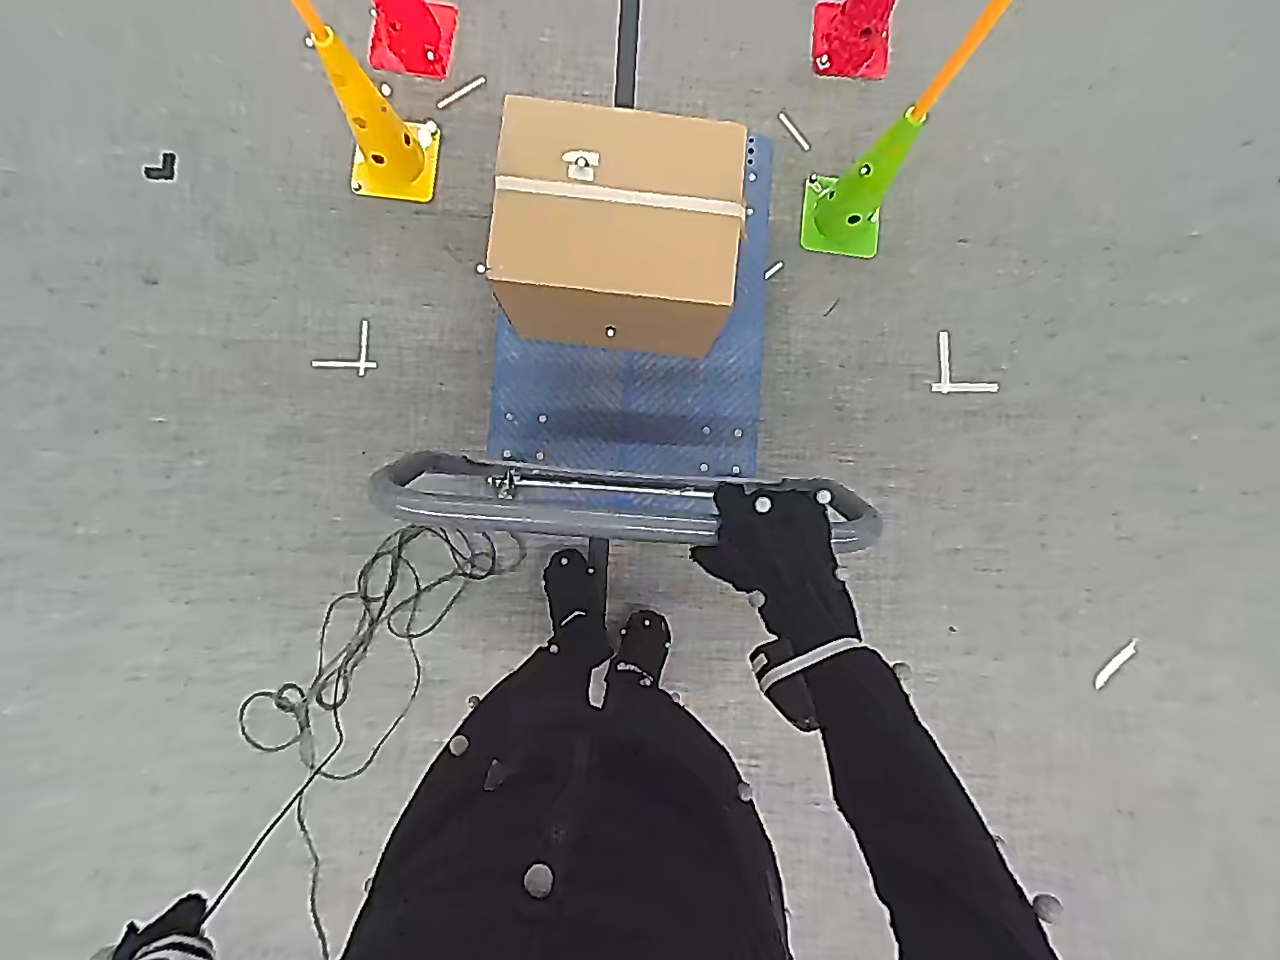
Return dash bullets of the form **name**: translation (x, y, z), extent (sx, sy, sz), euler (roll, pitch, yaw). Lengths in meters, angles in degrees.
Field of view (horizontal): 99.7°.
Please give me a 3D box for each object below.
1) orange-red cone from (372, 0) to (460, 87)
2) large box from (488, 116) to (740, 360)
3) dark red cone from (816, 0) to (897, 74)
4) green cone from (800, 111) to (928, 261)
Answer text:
- **orange-red cone**: translation (-0.564, -1.131, 1.217), extent (0.198, 0.360, 0.199), euler (10, 84, -3)
- **large box**: translation (-0.042, -0.434, 1.047), extent (0.408, 0.320, 0.320), euler (6, 86, -1)
- **dark red cone**: translation (0.569, -1.169, 1.247), extent (0.201, 0.394, 0.202), euler (3, 86, -4)
- **green cone**: translation (0.527, -0.686, 1.231), extent (0.202, 0.368, 0.200), euler (6, 86, -3)
